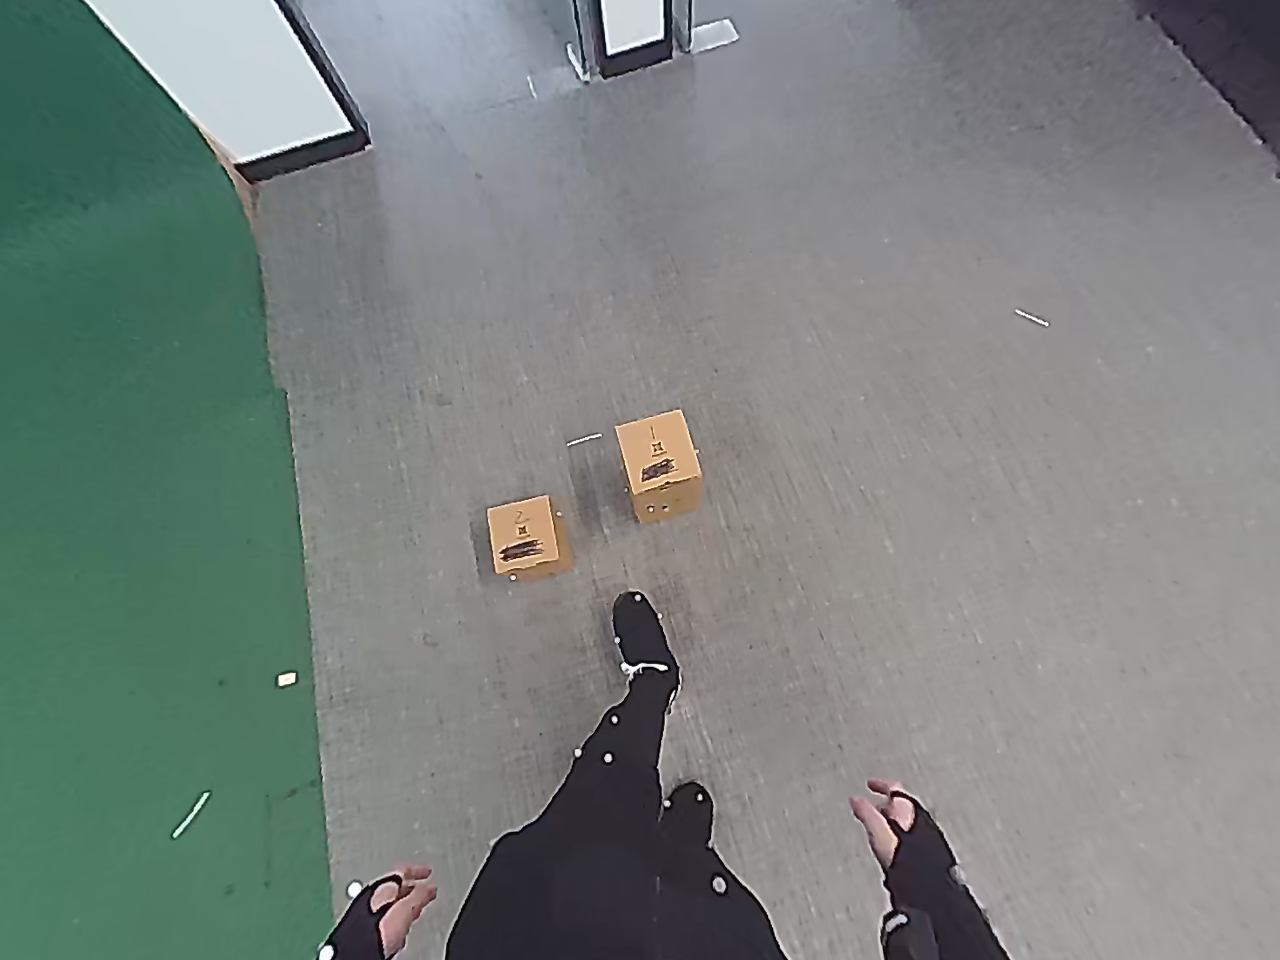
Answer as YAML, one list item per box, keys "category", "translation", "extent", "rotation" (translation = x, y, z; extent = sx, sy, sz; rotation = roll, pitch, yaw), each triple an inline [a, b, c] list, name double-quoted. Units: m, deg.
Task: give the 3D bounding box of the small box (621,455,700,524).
- category: "small box"
  translation: [0.058, 0.010, 1.488]
  extent: [0.179, 0.176, 0.168]
  rotation: [-16, 71, -2]

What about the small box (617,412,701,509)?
- category: "small box"
  translation: [0.050, -0.039, 1.332]
  extent: [0.168, 0.176, 0.179]
  rotation: [-15, 70, -1]
